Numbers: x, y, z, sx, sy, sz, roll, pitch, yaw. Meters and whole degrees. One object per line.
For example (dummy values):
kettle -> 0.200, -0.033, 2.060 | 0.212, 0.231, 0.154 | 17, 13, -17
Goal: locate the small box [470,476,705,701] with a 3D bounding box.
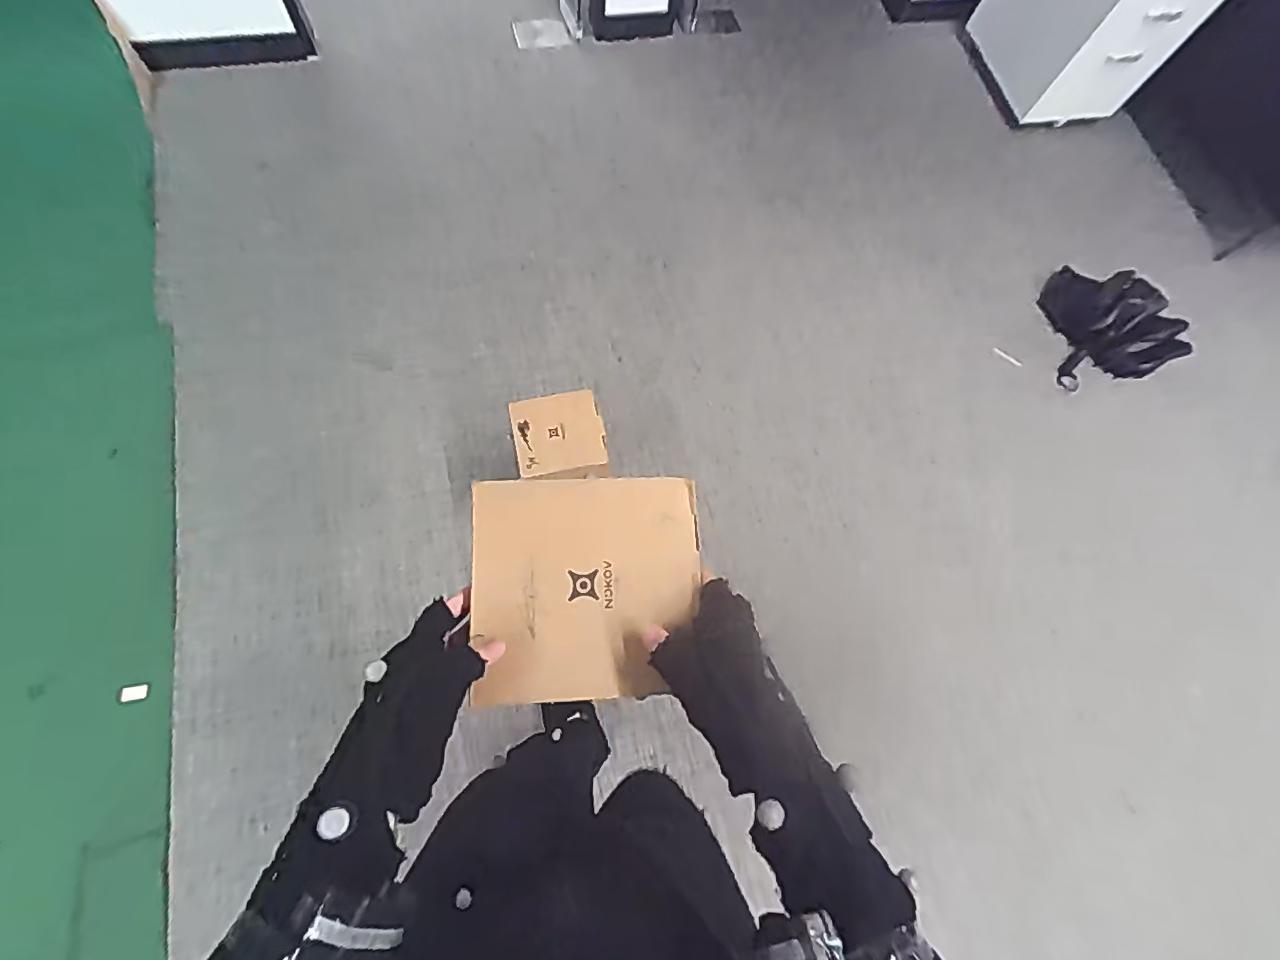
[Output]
small box -> -0.048, 0.094, 0.493 | 0.179, 0.176, 0.168 | -3, 78, -5

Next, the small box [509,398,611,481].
small box -> -0.169, -0.054, 1.154 | 0.179, 0.176, 0.168 | -14, 75, -10
